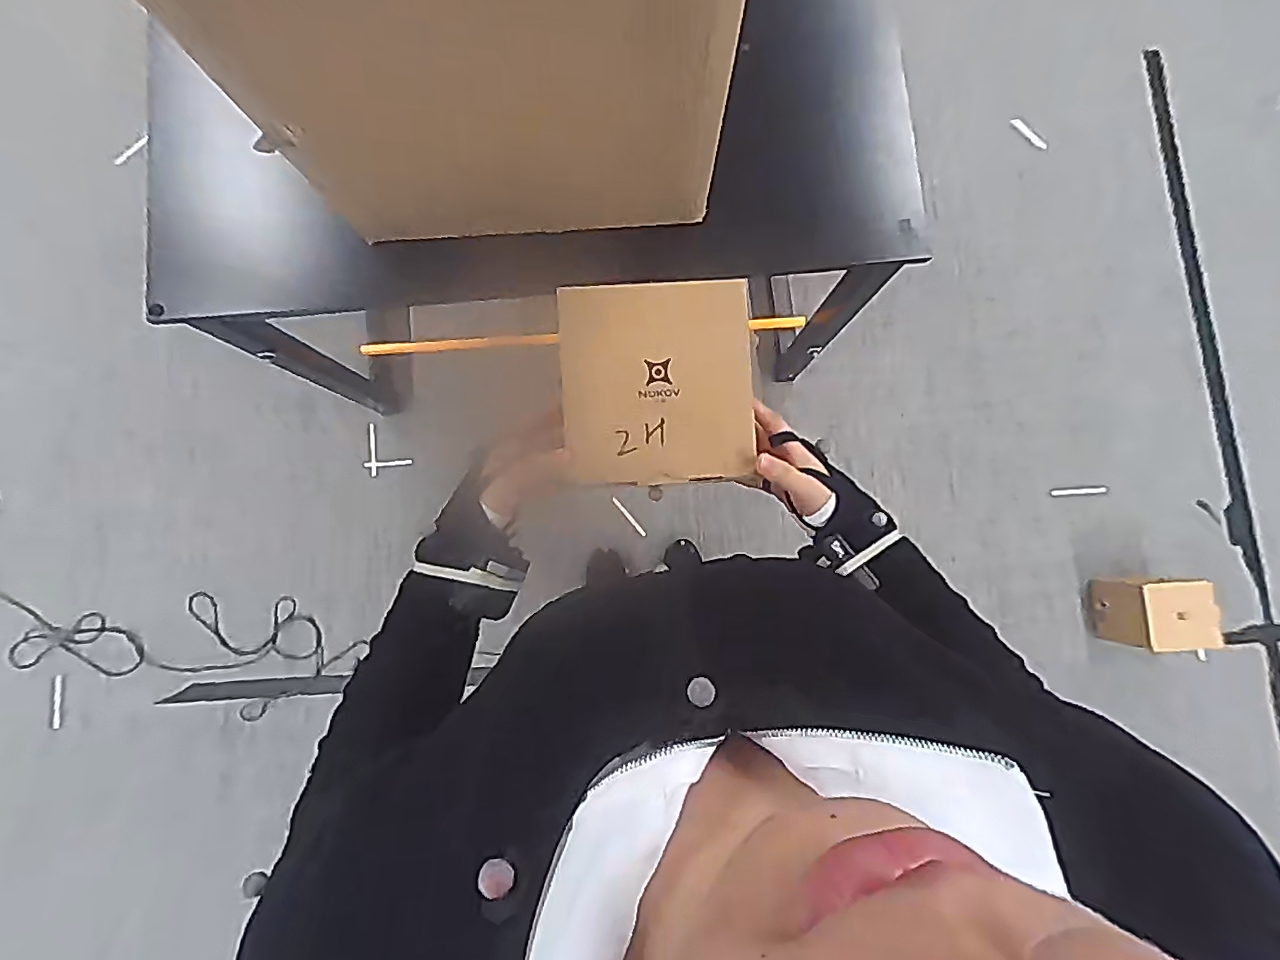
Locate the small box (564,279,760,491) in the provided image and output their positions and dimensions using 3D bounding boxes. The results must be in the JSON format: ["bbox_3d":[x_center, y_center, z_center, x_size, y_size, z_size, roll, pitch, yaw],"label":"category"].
[{"bbox_3d":[0.016,-0.081,0.543,0.168,0.176,0.179,-3,88,-1],"label":"small box"}]

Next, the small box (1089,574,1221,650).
[{"bbox_3d":[1.333,0.338,1.411,0.179,0.176,0.168,-4,83,1],"label":"small box"}]
